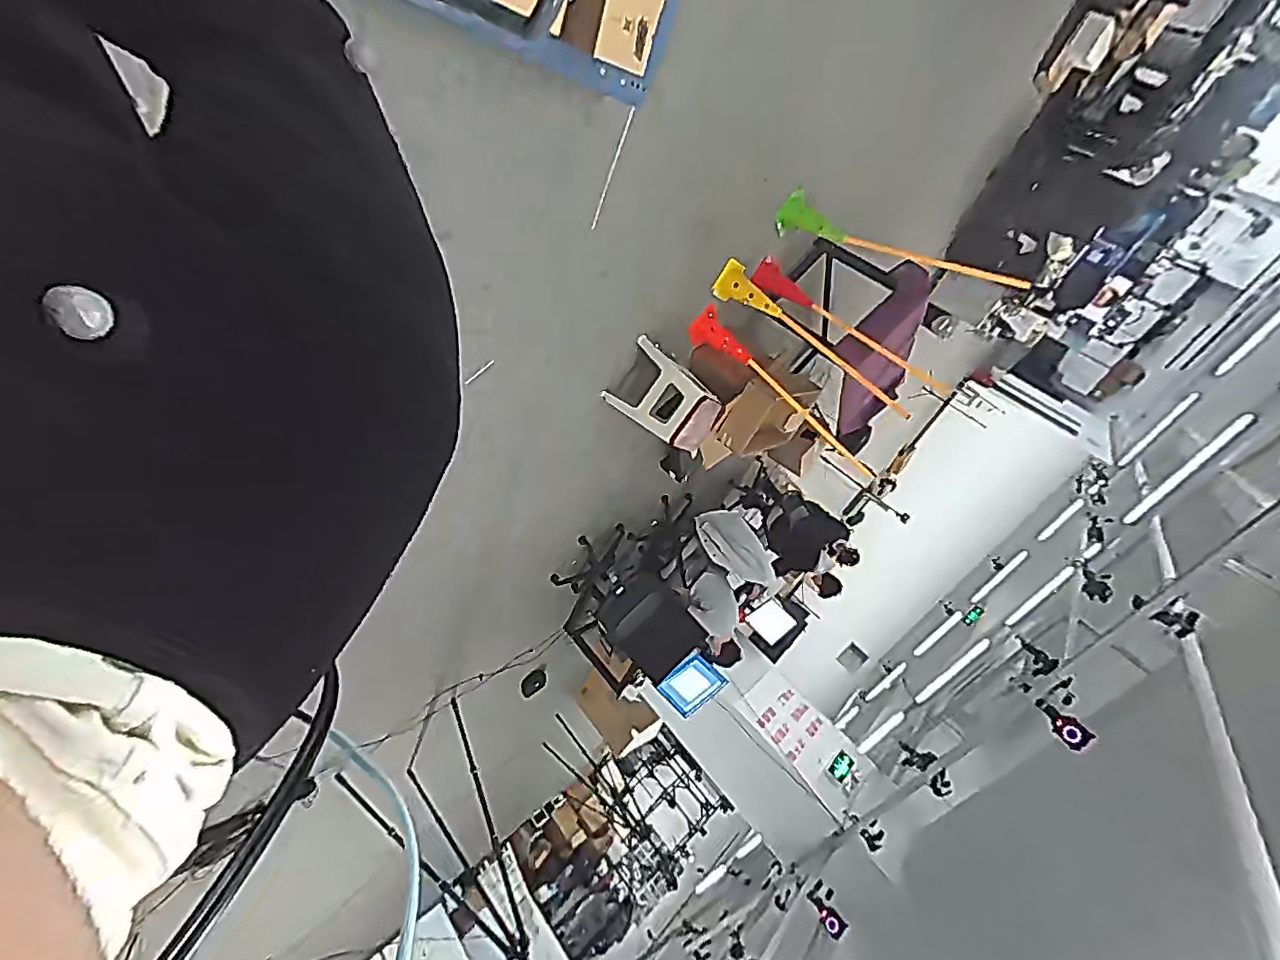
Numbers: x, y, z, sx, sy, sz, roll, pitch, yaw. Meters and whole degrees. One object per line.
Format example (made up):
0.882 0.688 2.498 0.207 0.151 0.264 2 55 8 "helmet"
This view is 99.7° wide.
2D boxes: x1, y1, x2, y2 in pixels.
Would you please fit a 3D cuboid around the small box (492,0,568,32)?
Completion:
-0.253 -1.077 1.113 0.179 0.176 0.168 -15 140 -47 "small box"

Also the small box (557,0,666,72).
-0.072 -1.128 1.308 0.179 0.176 0.168 -18 142 -43 "small box"
